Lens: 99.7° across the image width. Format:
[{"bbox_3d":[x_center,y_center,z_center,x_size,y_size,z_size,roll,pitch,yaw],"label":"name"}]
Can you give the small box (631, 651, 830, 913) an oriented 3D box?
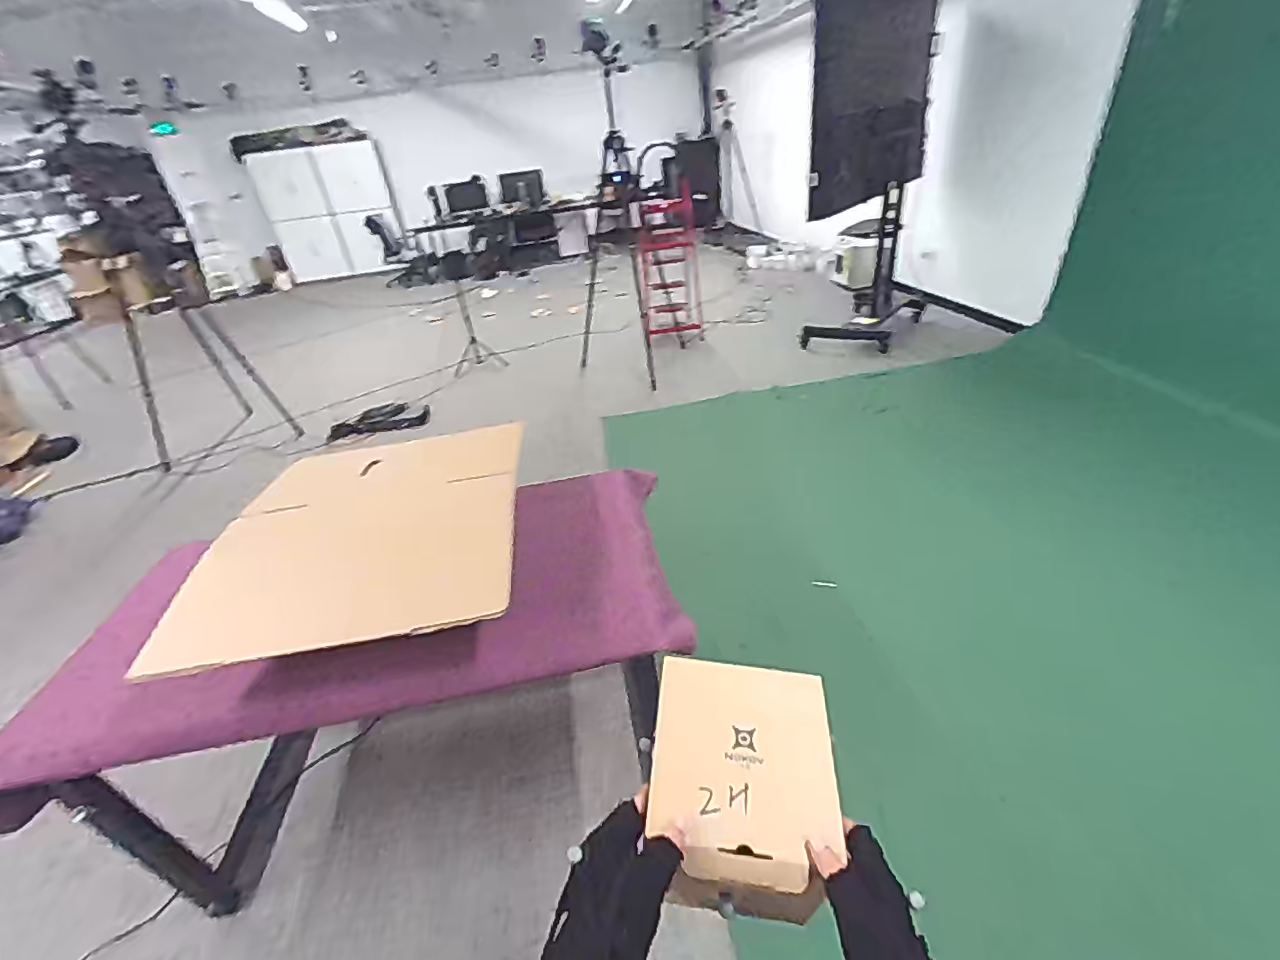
[{"bbox_3d":[0.082,0.308,0.559,0.168,0.176,0.179,5,40,5],"label":"small box"}]
